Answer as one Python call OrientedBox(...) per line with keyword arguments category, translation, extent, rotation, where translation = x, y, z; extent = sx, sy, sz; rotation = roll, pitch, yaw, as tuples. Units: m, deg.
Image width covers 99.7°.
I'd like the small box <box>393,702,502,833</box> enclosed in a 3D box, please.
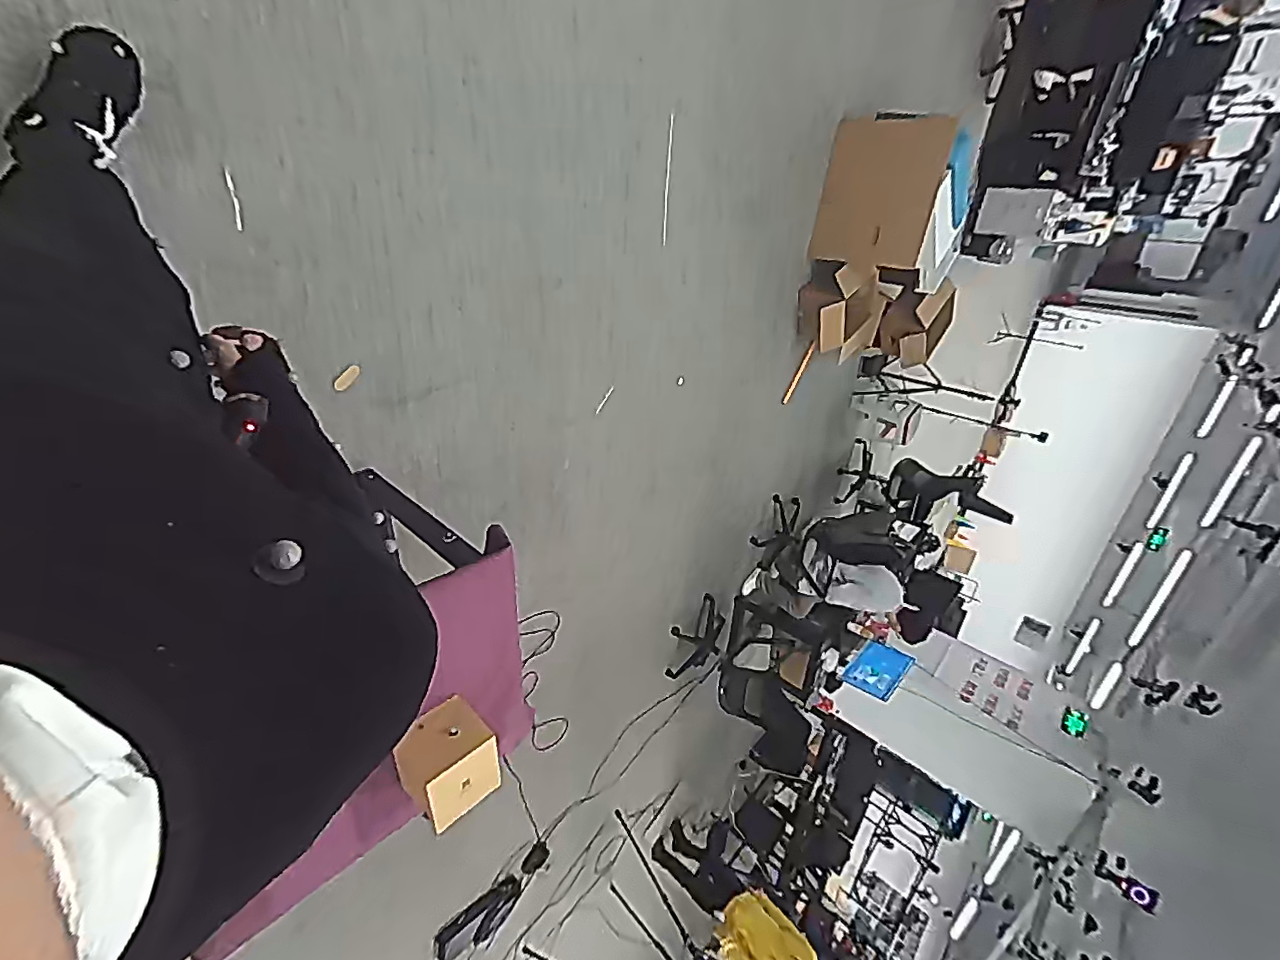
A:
OrientedBox(category="small box", translation=(-0.436, 0.636, 1.226), extent=(0.168, 0.176, 0.179), rotation=(-26, 129, -41))
